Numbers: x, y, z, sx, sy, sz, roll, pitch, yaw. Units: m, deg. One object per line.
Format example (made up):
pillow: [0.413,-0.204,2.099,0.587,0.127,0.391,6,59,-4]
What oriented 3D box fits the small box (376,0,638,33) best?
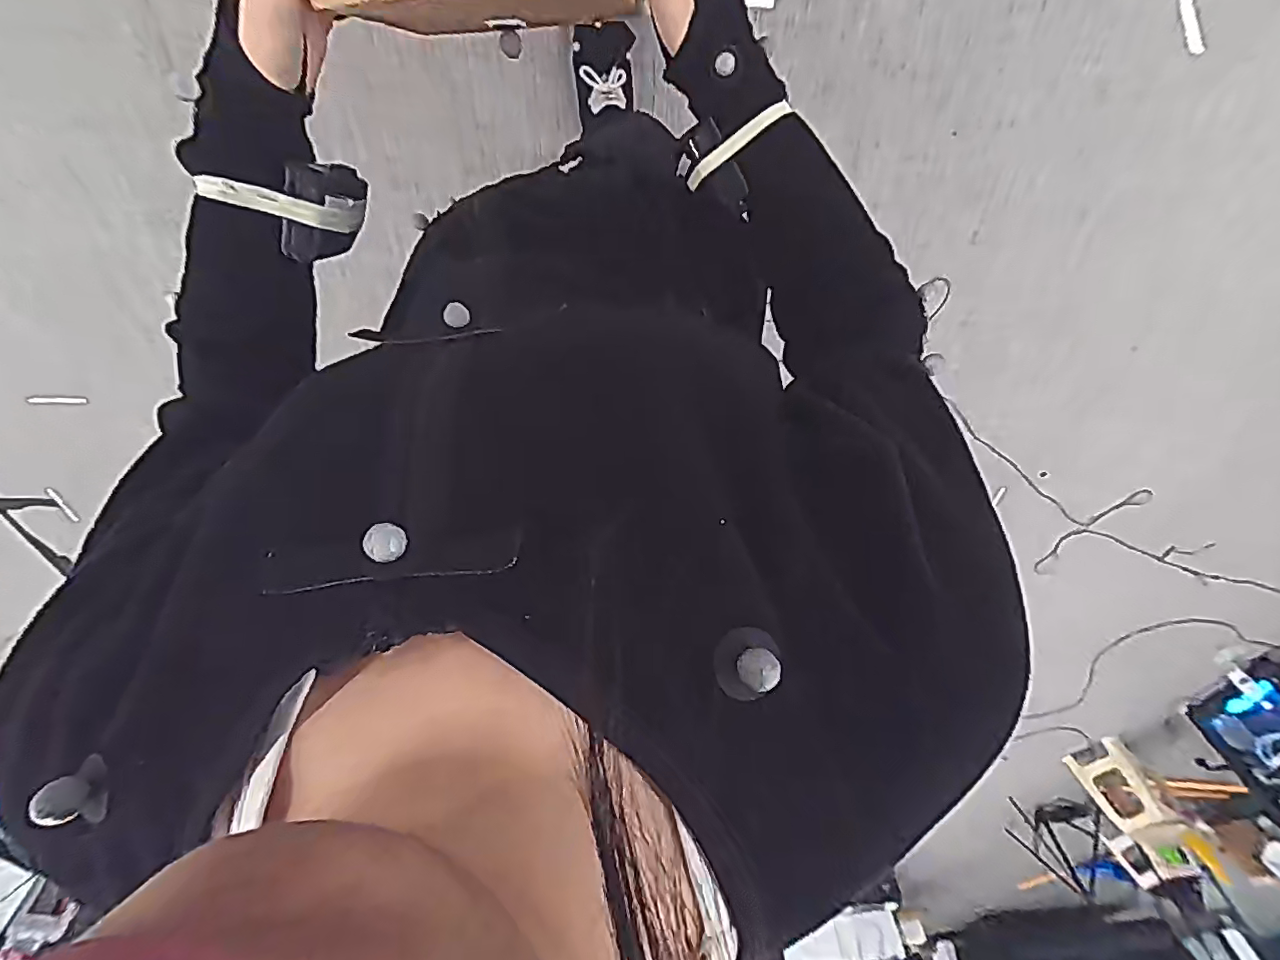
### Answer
small box: [-0.089,-0.372,0.297,0.168,0.176,0.179,-1,125,5]
